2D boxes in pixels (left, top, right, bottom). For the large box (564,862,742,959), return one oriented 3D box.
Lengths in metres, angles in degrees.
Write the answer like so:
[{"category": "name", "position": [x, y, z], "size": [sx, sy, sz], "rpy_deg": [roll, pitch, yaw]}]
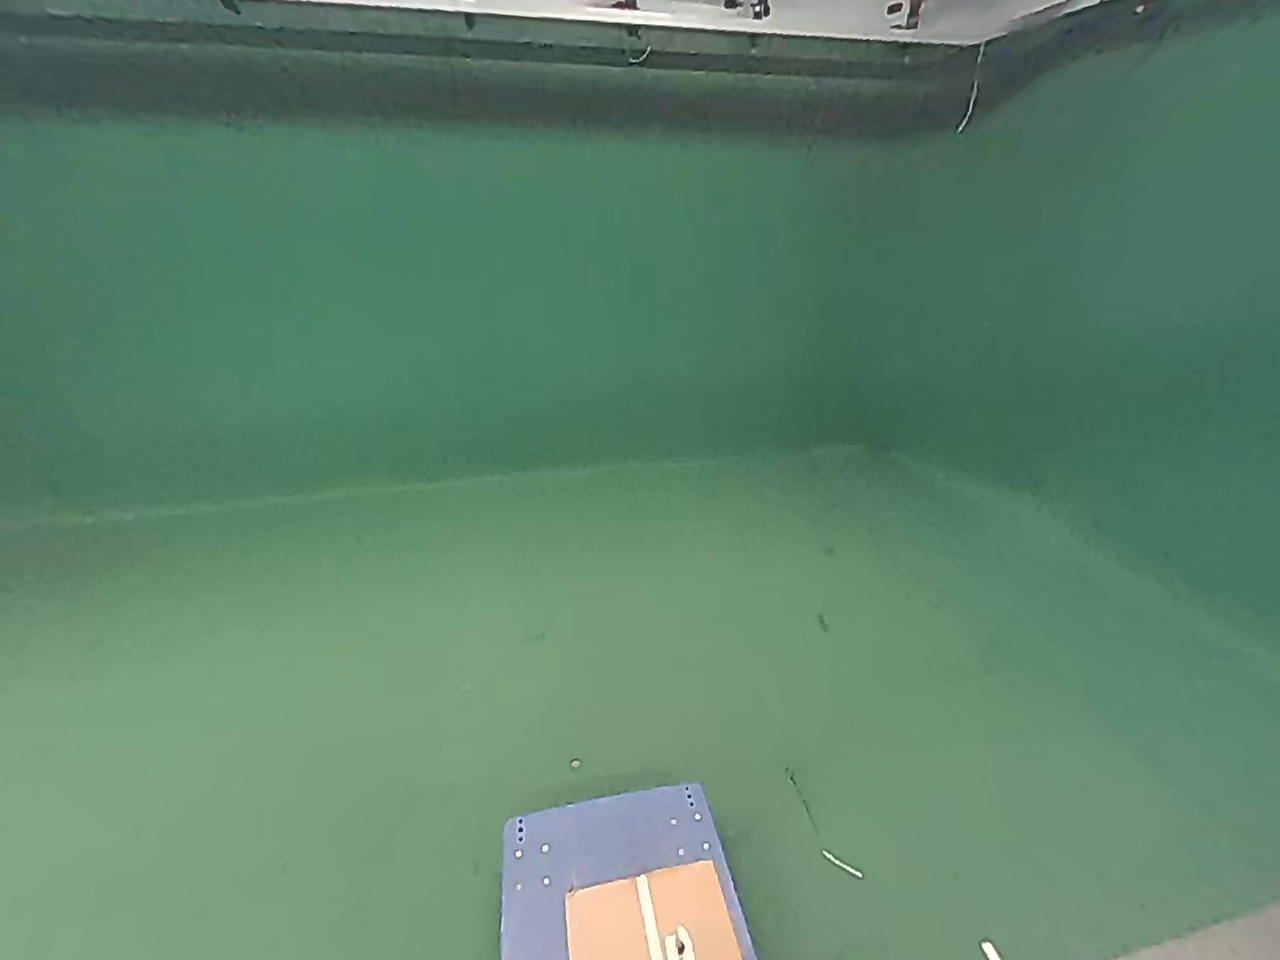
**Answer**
[{"category": "large box", "position": [0.044, 1.034, 0.996], "size": [0.320, 0.320, 0.408], "rpy_deg": [-5, 26, -11]}]
